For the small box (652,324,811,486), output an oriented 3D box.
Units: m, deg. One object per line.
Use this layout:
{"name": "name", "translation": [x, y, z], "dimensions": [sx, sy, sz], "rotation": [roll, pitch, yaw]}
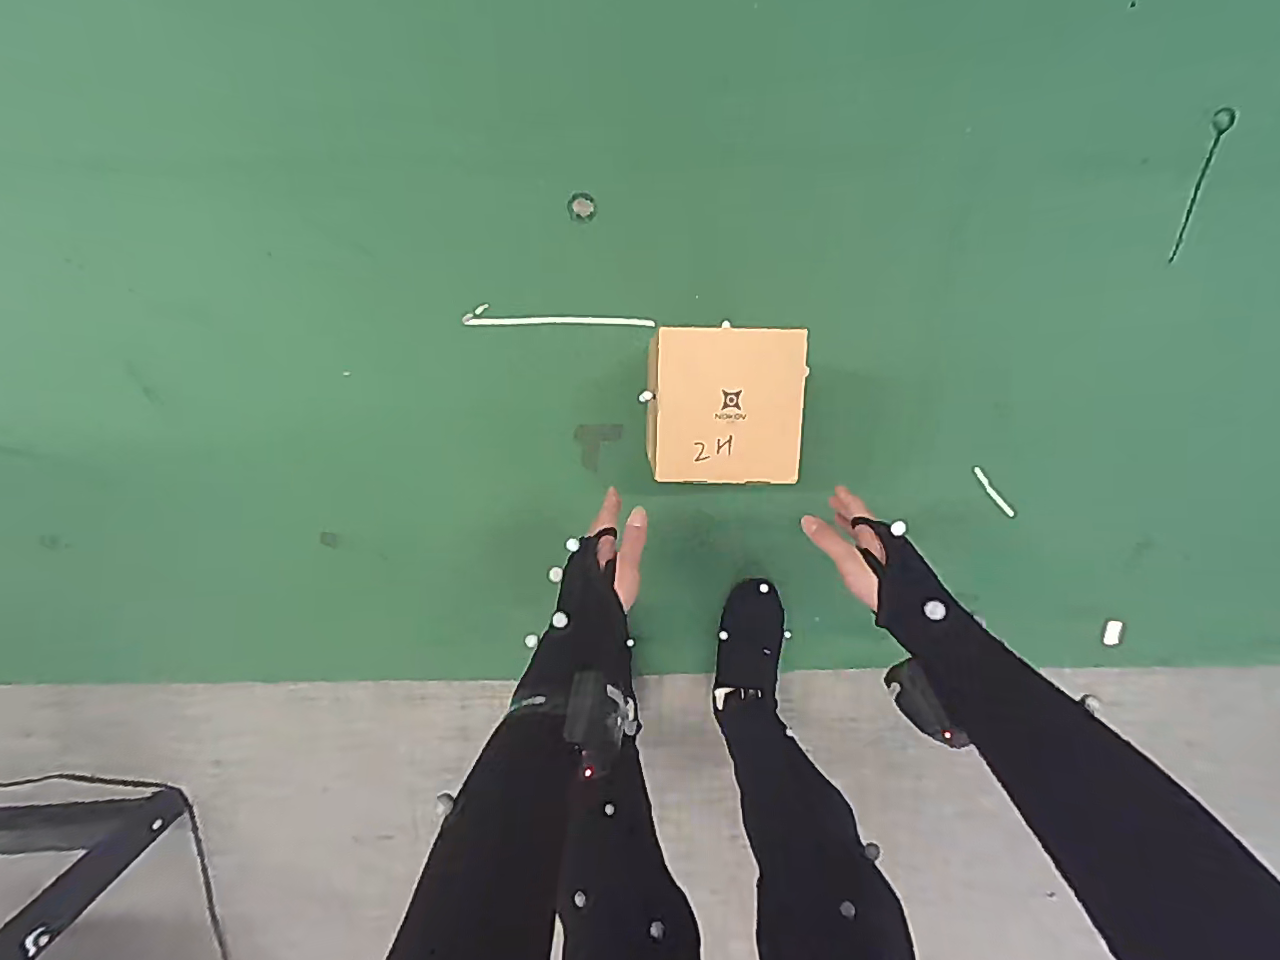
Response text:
{"name": "small box", "translation": [0.101, -0.095, 0.679], "dimensions": [0.168, 0.176, 0.179], "rotation": [1, 101, -1]}
